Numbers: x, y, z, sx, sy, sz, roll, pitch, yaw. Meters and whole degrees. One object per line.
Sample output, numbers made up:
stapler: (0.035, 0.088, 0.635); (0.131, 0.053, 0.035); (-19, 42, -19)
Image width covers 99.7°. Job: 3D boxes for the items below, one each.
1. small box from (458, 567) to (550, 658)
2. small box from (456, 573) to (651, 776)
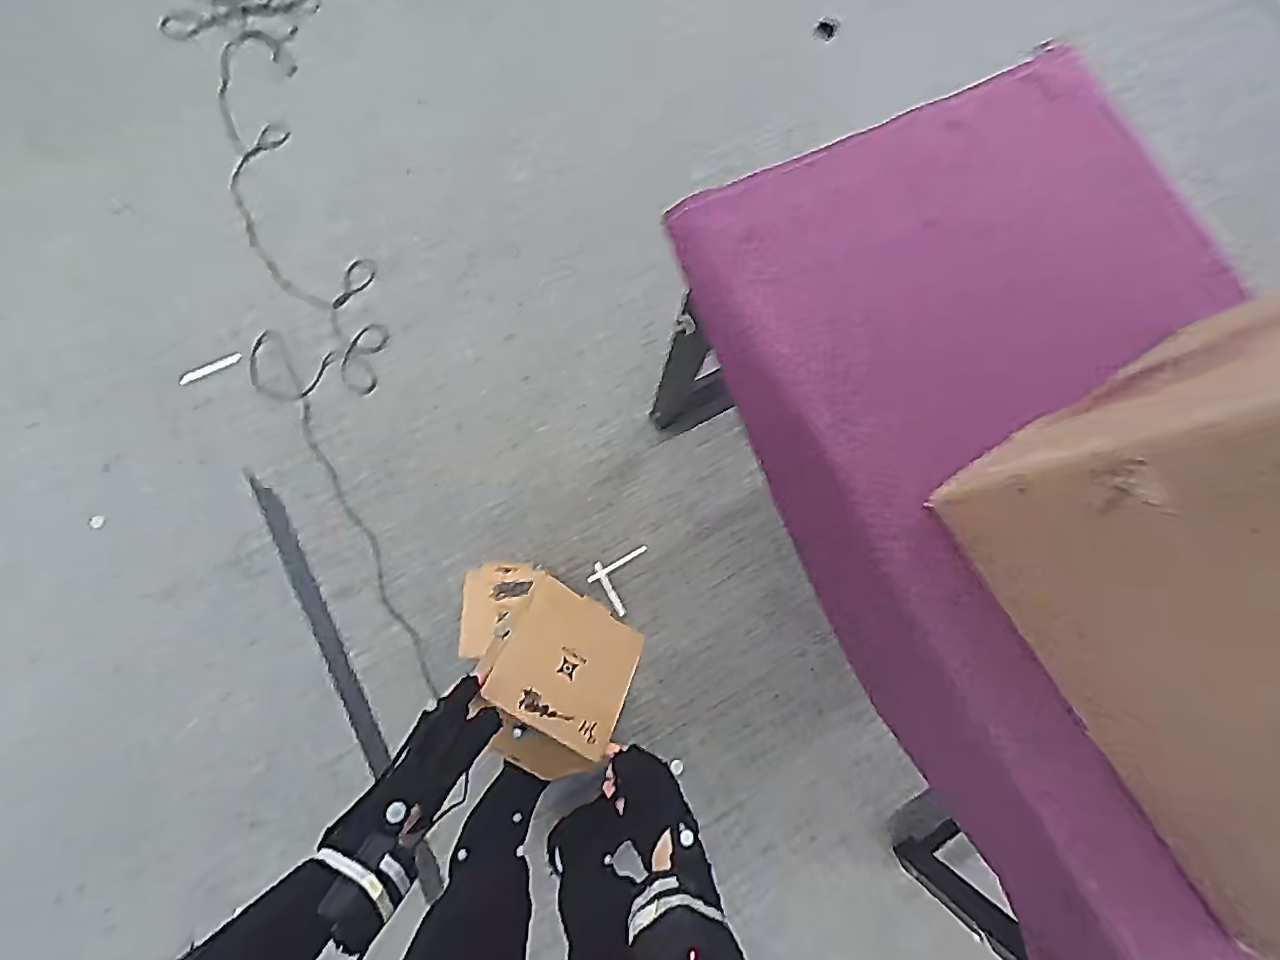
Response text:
small box: (-0.280, 0.282, 1.157); (0.168, 0.176, 0.179); (3, 79, -4)
small box: (-0.117, 0.260, 0.712); (0.168, 0.176, 0.179); (35, 47, -9)
